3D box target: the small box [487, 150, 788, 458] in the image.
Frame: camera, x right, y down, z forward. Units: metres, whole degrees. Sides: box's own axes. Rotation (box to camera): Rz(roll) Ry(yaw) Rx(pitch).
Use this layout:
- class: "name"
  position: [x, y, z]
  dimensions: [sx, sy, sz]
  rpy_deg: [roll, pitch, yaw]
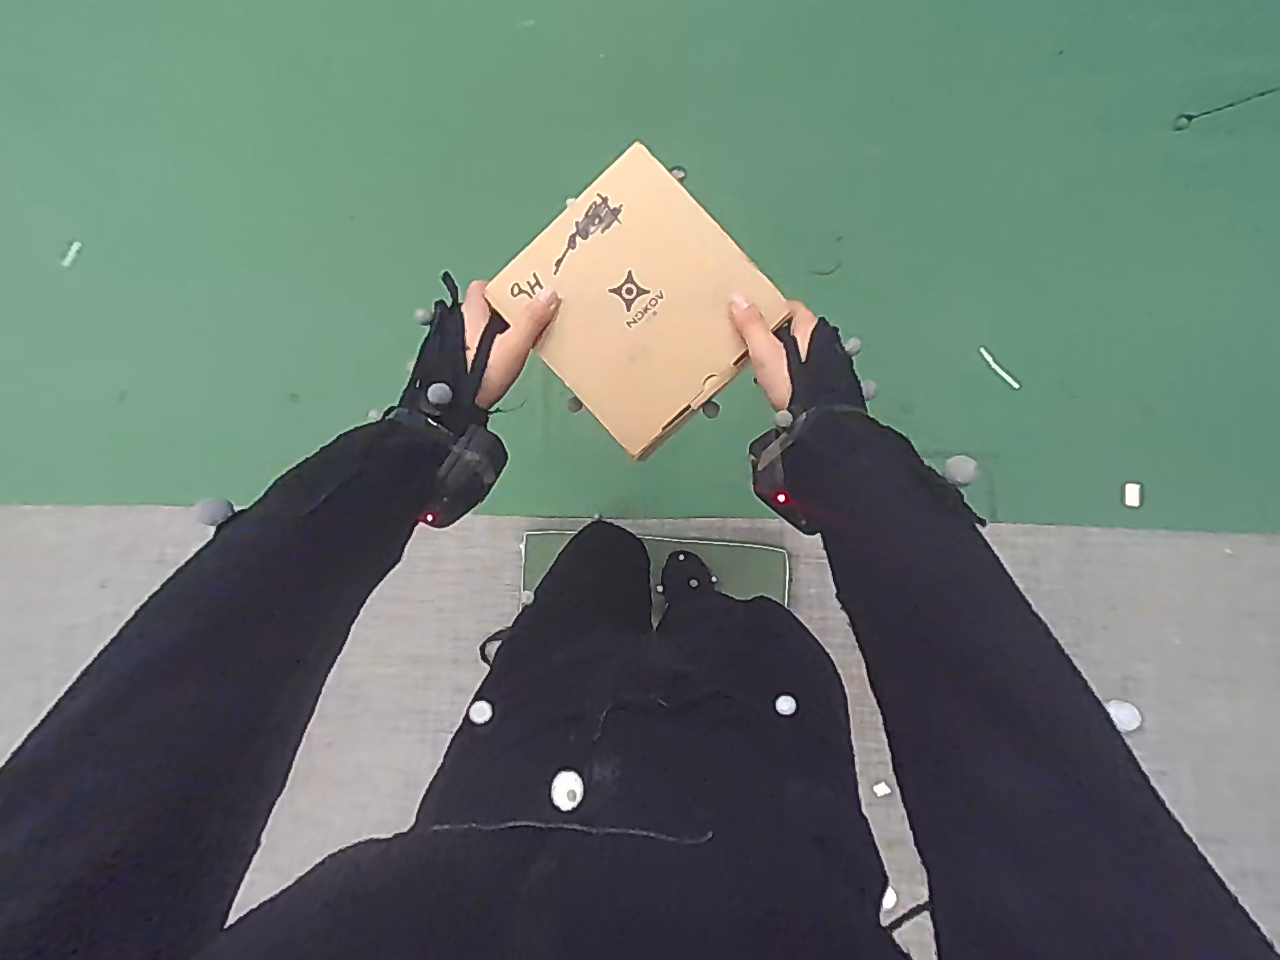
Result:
- class: "small box"
  position: [0.000, -0.138, 0.492]
  dimensions: [0.168, 0.176, 0.179]
  rpy_deg: [-42, 90, 2]
